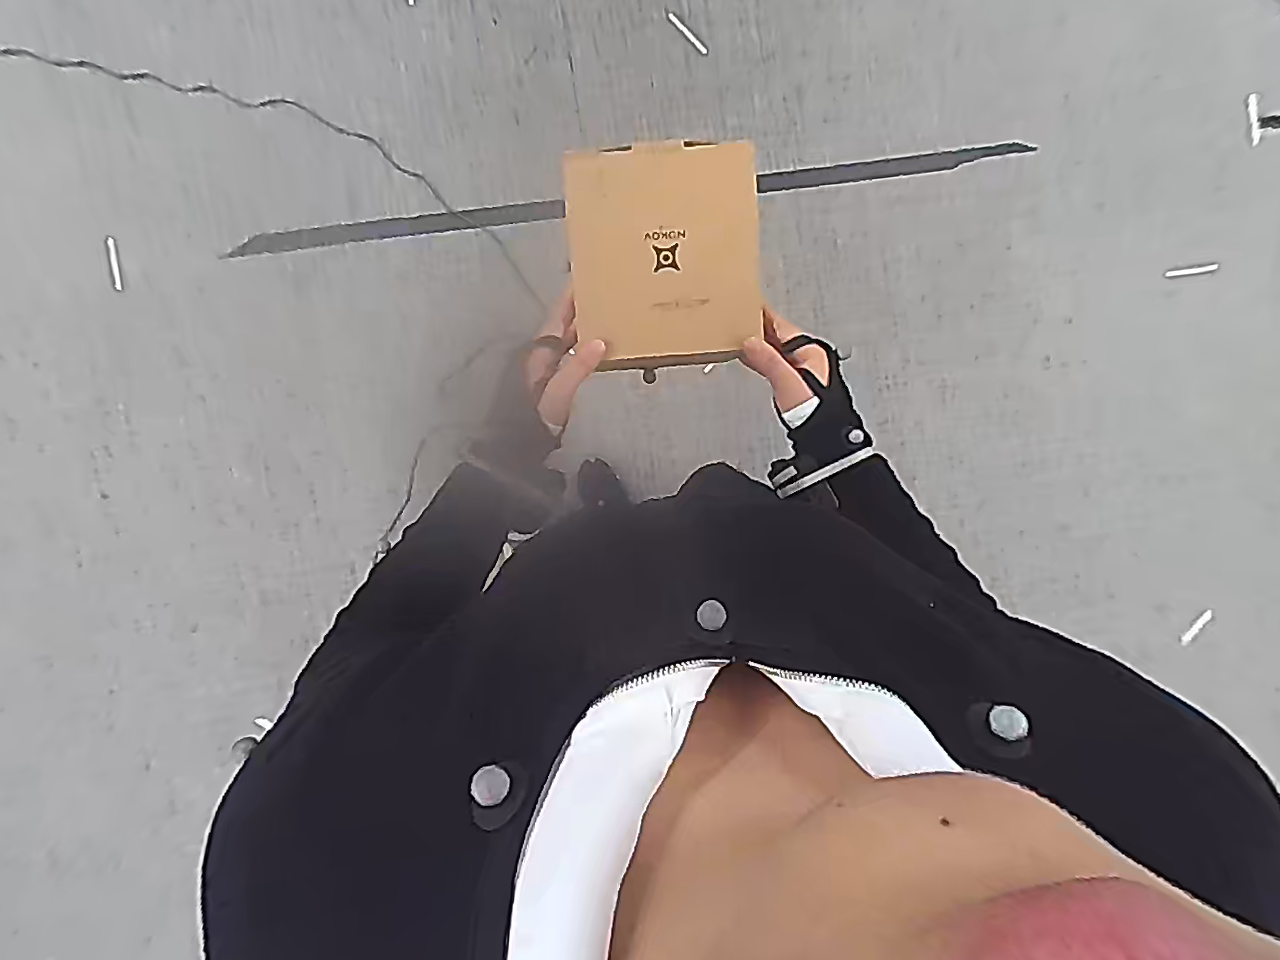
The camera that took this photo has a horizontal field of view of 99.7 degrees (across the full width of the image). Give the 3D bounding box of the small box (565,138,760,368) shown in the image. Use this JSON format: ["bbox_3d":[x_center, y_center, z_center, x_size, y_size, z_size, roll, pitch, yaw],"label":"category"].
[{"bbox_3d":[0.017,-0.213,0.550,0.168,0.176,0.179,-5,99,-2],"label":"small box"}]
